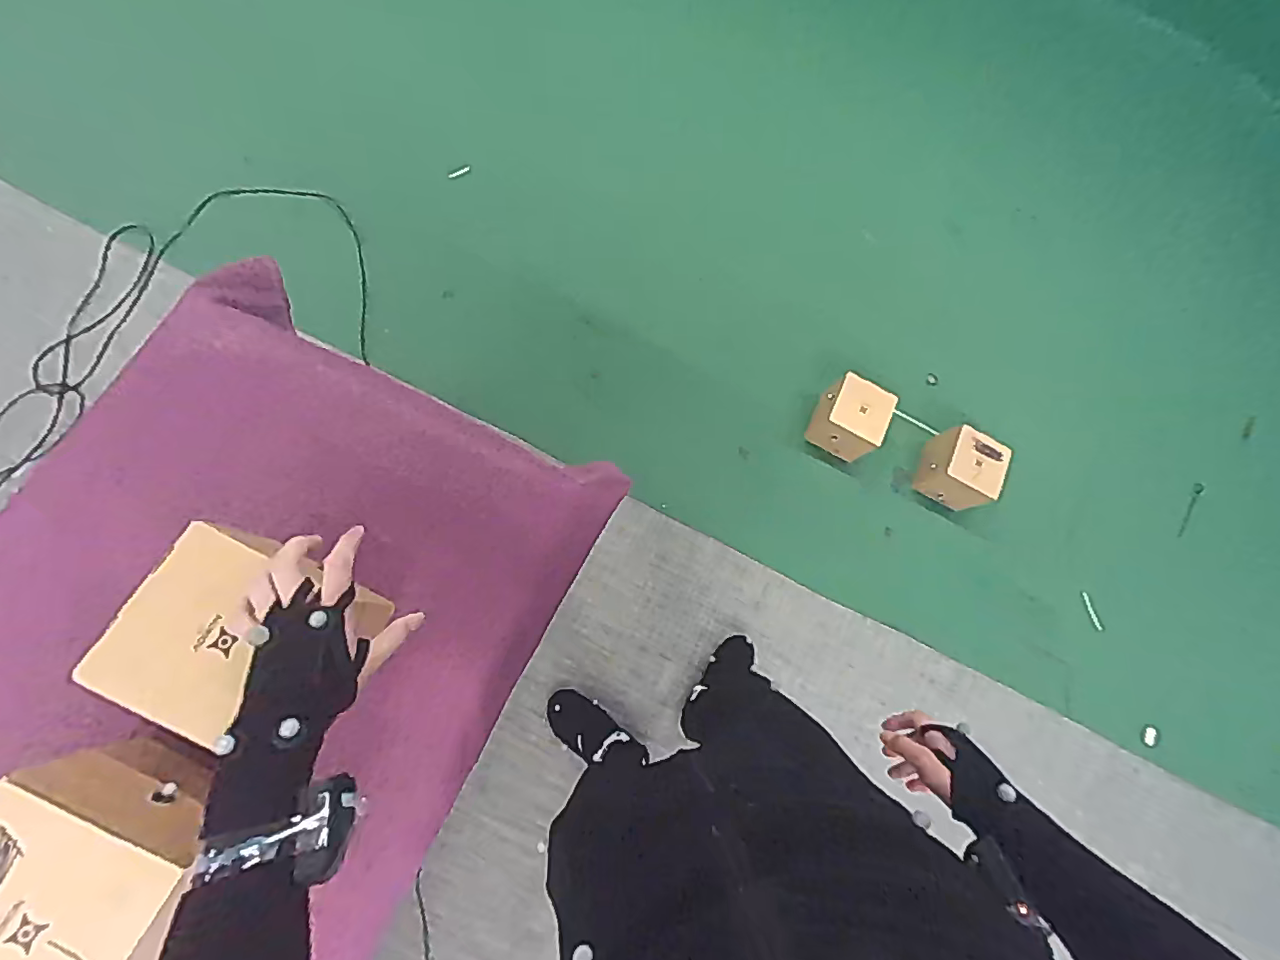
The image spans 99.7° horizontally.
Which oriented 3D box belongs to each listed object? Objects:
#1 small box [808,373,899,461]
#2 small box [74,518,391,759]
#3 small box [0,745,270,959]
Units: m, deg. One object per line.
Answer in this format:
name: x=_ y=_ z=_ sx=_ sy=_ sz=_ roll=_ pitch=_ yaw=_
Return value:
small box: x=0.623 y=-0.178 z=1.603 sx=0.168 sy=0.176 sz=0.179 roll=28 pitch=72 yaw=-1
small box: x=-0.409 y=0.165 z=0.584 sx=0.179 sy=0.176 sz=0.168 roll=29 pitch=73 yaw=-1
small box: x=-0.513 y=0.376 z=0.512 sx=0.179 sy=0.176 sz=0.168 roll=30 pitch=73 yaw=-2
